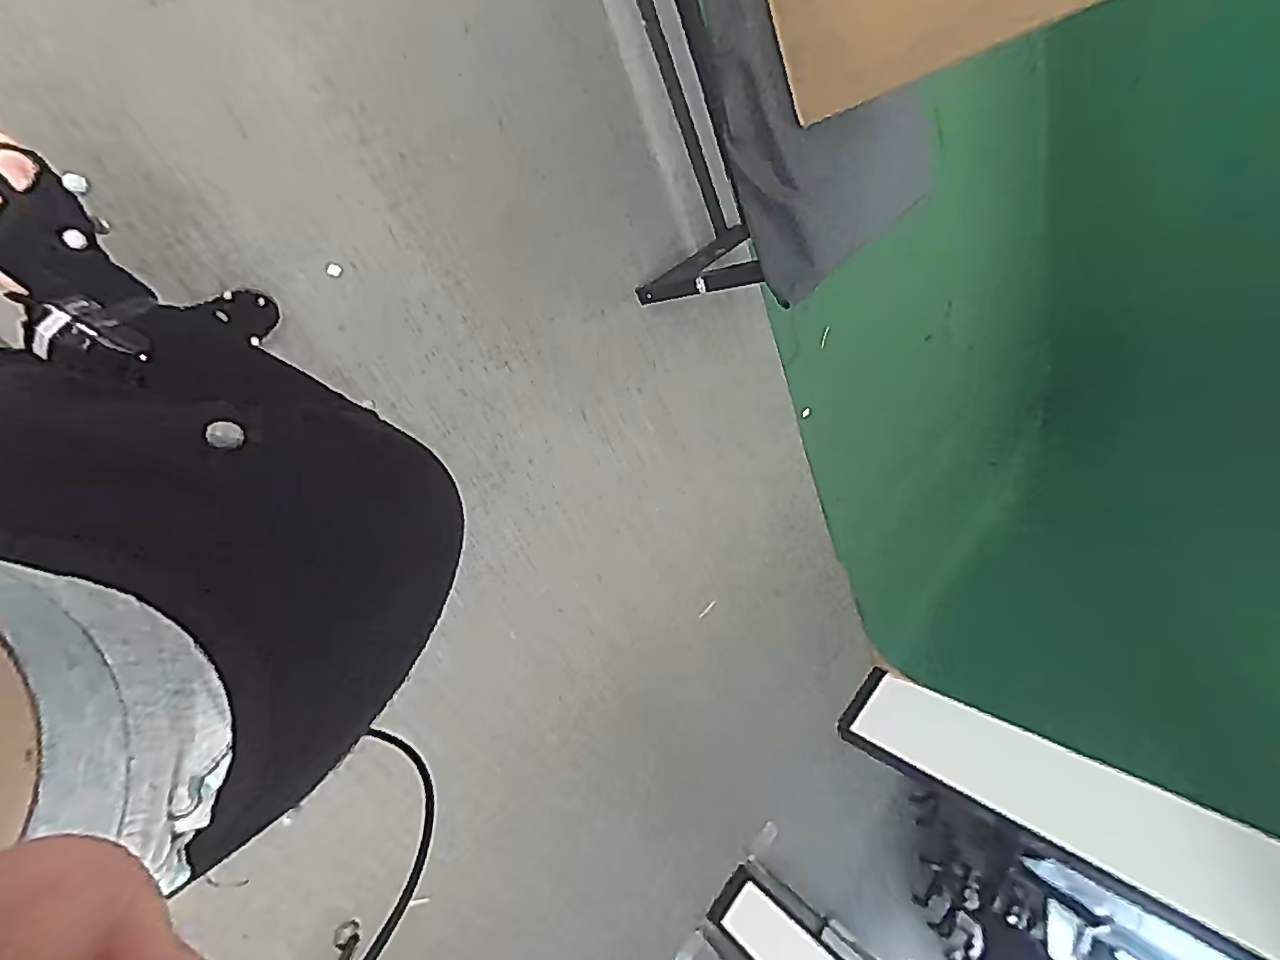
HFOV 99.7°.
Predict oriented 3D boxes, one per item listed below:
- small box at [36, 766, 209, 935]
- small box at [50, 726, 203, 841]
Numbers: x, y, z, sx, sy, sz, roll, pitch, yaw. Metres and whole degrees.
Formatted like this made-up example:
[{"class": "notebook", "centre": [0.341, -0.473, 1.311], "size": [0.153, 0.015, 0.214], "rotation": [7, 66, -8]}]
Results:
[{"class": "small box", "centre": [-0.981, 0.706, 1.047], "size": [0.179, 0.176, 0.168], "rotation": [-42, 122, -26]}, {"class": "small box", "centre": [-1.090, 0.678, 1.167], "size": [0.179, 0.176, 0.168], "rotation": [-44, 124, -26]}]
